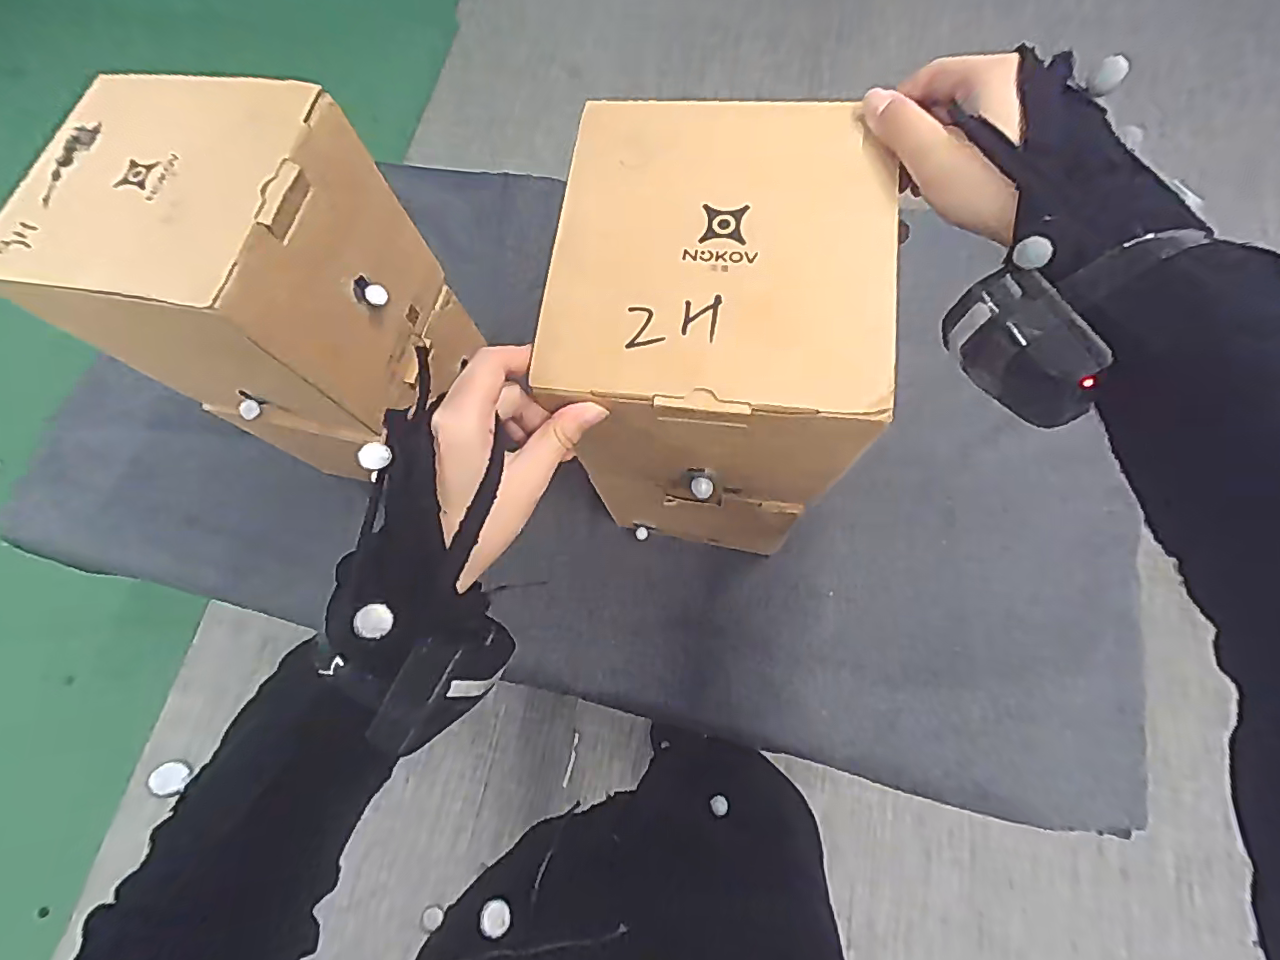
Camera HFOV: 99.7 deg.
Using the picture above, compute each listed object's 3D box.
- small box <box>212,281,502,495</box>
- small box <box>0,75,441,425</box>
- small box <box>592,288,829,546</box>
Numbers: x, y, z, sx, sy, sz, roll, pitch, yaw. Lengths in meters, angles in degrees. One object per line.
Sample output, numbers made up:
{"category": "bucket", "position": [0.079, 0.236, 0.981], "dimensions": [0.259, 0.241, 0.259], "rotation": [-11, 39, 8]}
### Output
{"category": "small box", "position": [-0.265, -0.094, 0.556], "dimensions": [0.179, 0.176, 0.168], "rotation": [10, 71, 10]}
{"category": "small box", "position": [-0.279, -0.155, 0.404], "dimensions": [0.179, 0.176, 0.168], "rotation": [10, 72, 9]}
{"category": "small box", "position": [0.066, -0.047, 0.507], "dimensions": [0.168, 0.176, 0.179], "rotation": [10, 72, 8]}
